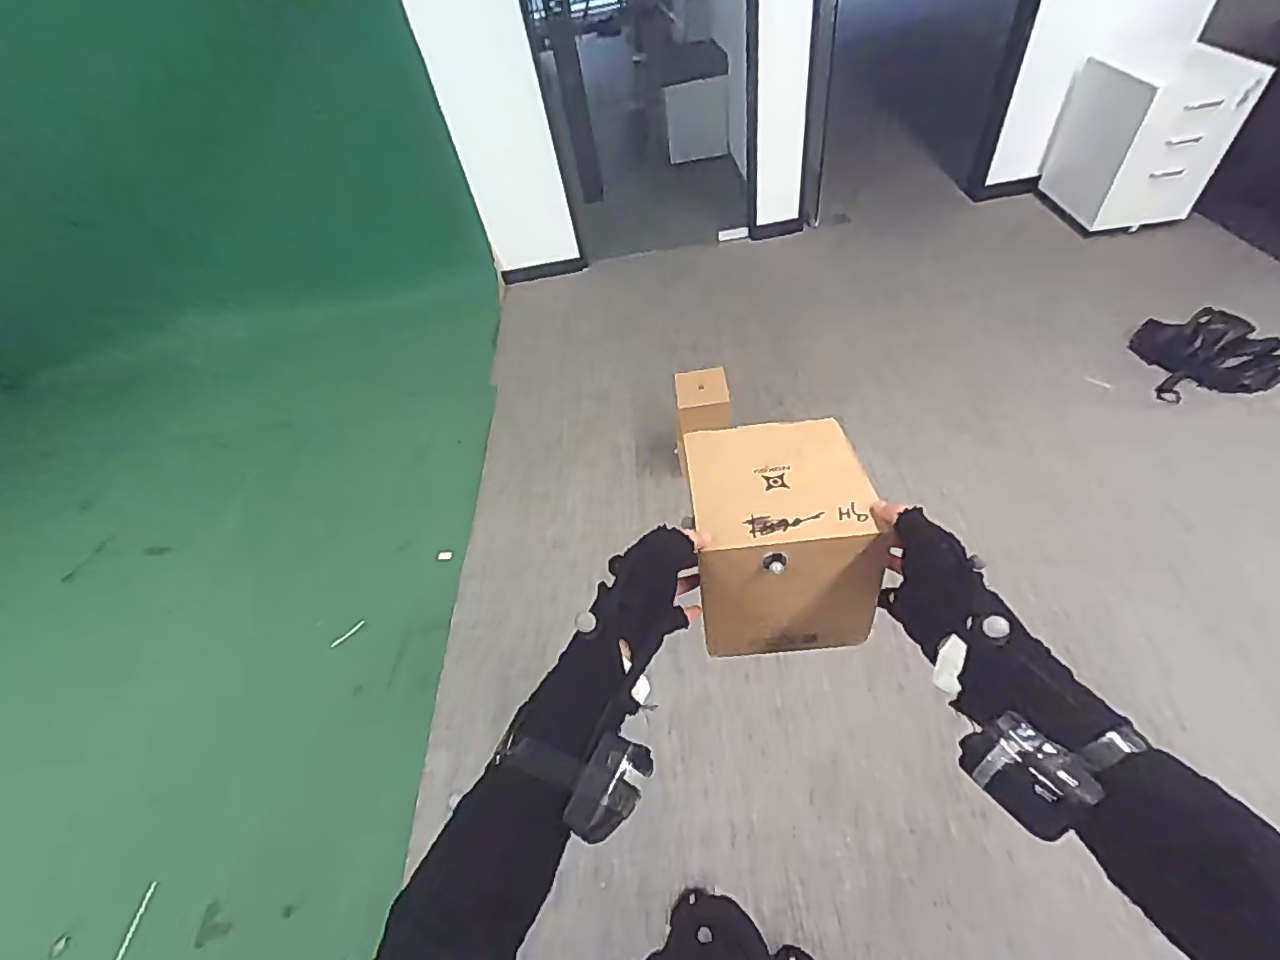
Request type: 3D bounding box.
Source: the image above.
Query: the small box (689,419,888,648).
[{"bbox_3d":[0.143,0.056,0.583,0.168,0.176,0.179,-6,39,5],"label":"small box"}]

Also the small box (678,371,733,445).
[{"bbox_3d":[0.220,-0.237,1.816,0.168,0.176,0.179,-8,49,6],"label":"small box"}]

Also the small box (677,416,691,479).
[{"bbox_3d":[0.230,-0.124,1.930,0.179,0.176,0.168,-7,48,7],"label":"small box"}]
